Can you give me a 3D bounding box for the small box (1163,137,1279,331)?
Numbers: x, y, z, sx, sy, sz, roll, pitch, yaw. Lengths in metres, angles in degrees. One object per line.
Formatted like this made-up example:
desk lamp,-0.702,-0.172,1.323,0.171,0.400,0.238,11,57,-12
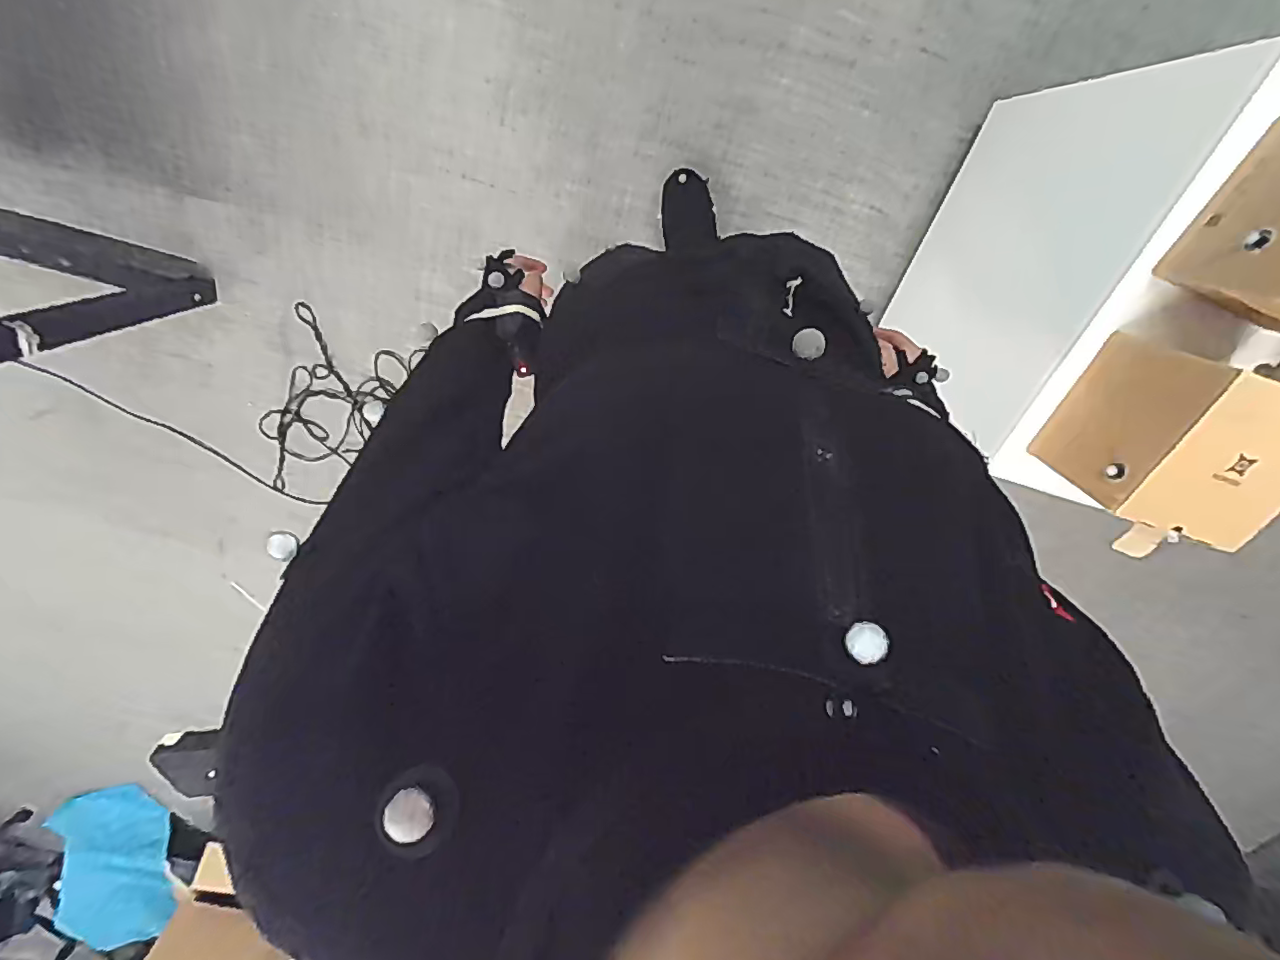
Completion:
small box,0.689,-0.232,0.522,0.179,0.176,0.168,18,120,-9
